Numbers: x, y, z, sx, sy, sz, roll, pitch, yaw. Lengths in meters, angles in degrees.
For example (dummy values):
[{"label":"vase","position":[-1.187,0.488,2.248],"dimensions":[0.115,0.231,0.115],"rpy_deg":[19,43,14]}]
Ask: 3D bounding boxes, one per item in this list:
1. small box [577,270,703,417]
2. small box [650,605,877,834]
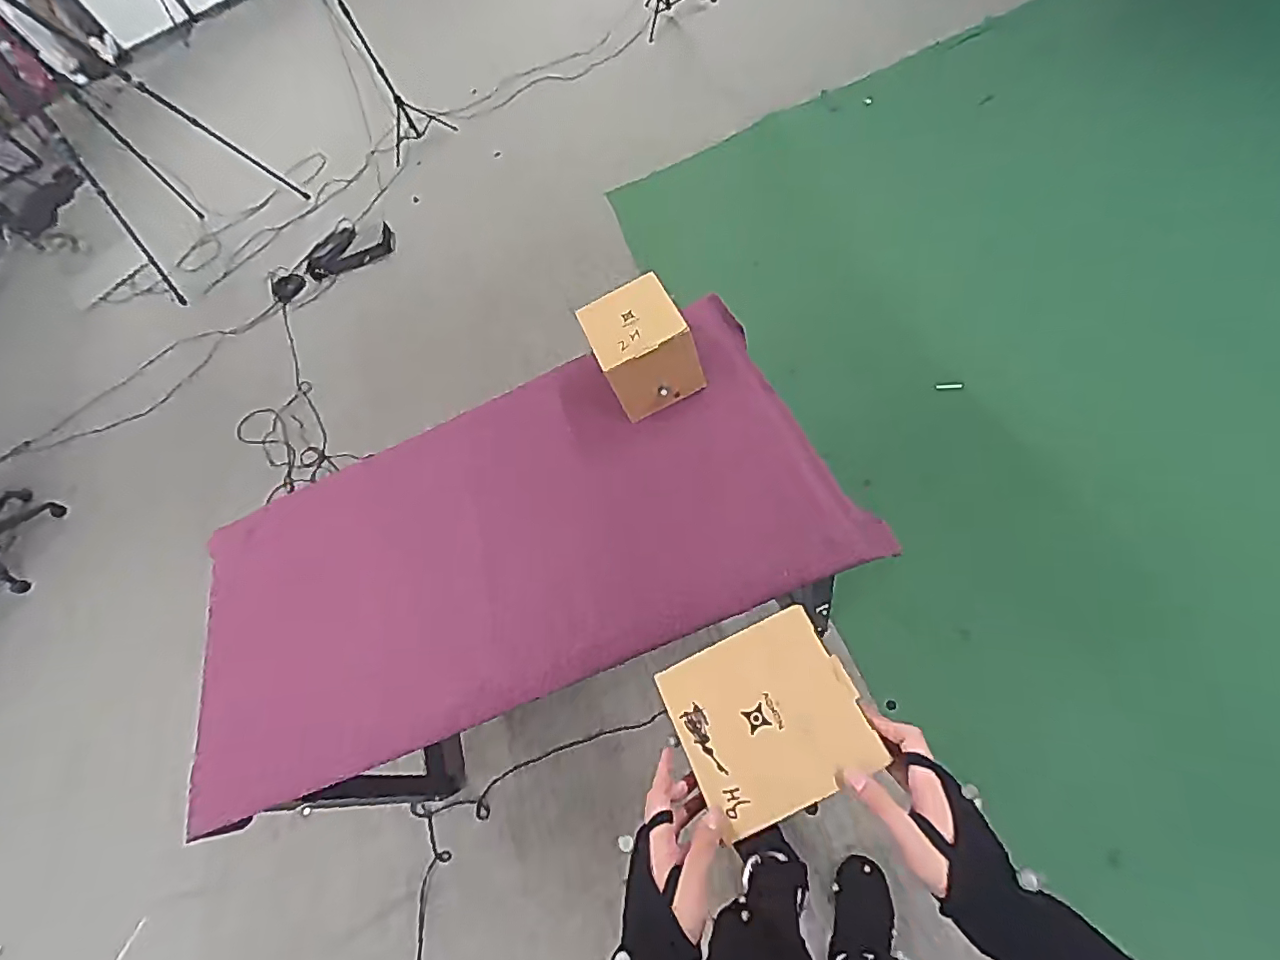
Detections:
[{"label":"small box","position":[0.004,-0.255,1.035],"dimensions":[0.168,0.176,0.179],"rpy_deg":[-27,59,6]},{"label":"small box","position":[0.134,0.266,0.612],"dimensions":[0.179,0.176,0.168],"rpy_deg":[-27,60,2]}]
